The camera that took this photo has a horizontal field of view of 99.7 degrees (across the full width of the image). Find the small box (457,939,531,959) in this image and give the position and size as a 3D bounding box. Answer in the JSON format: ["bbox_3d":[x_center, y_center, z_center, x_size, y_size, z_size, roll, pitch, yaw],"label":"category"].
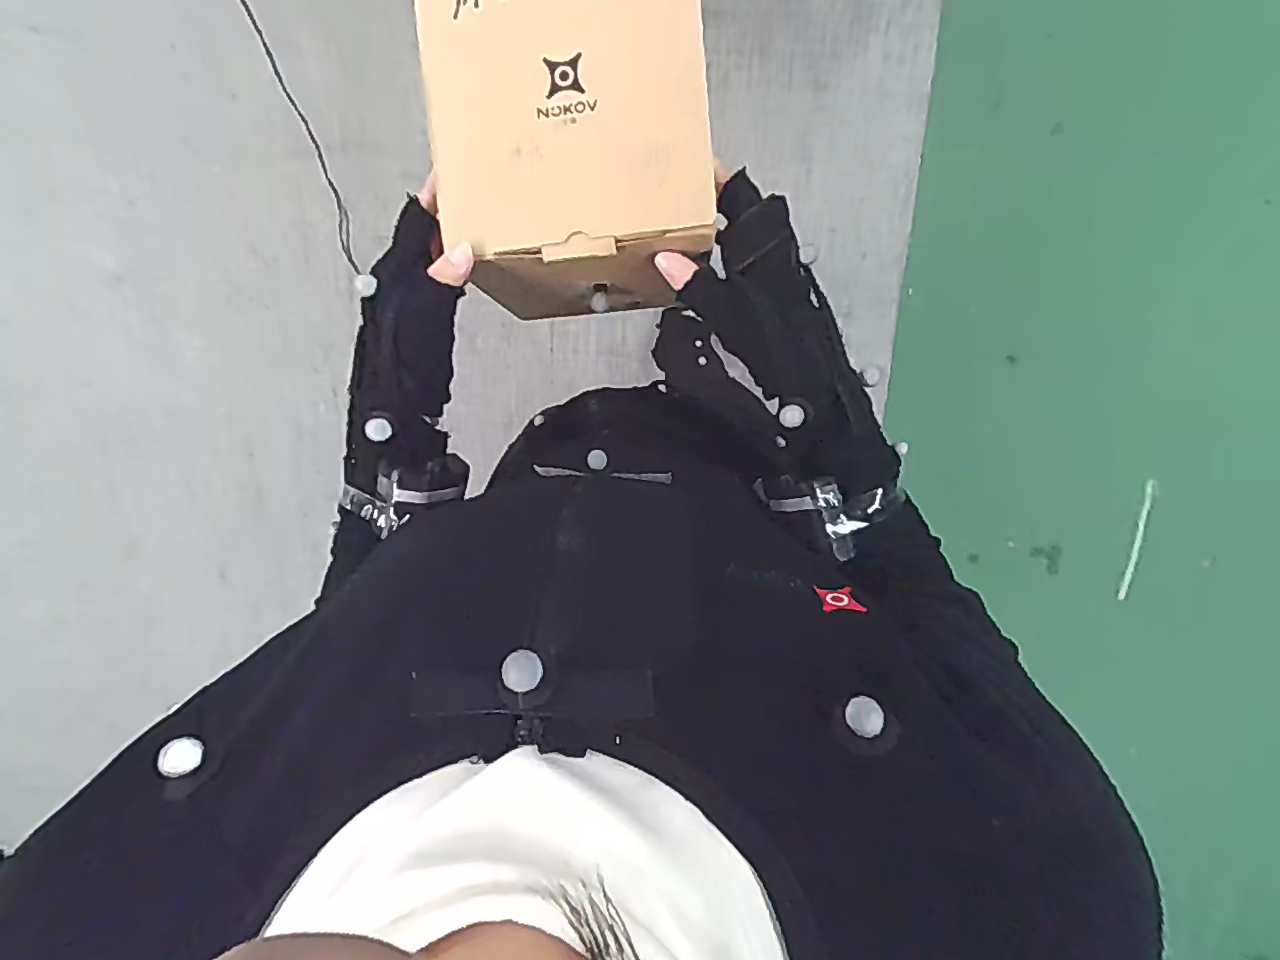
[{"bbox_3d":[-0.370,1.257,1.304,0.179,0.176,0.168,1,101,2],"label":"small box"}]

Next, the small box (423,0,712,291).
[{"bbox_3d":[-0.037,-0.247,0.398,0.168,0.176,0.179,-5,95,4],"label":"small box"}]
